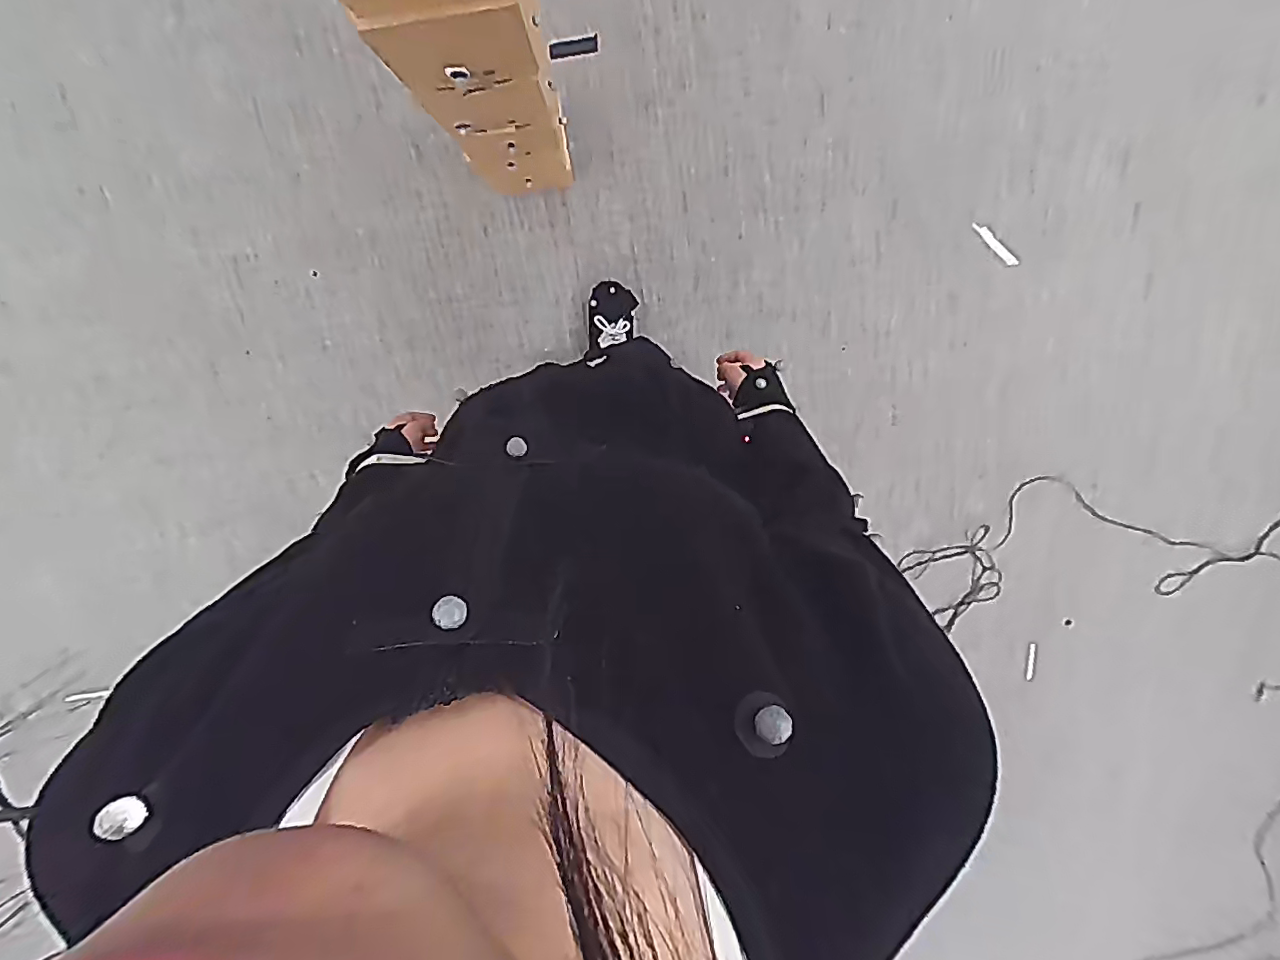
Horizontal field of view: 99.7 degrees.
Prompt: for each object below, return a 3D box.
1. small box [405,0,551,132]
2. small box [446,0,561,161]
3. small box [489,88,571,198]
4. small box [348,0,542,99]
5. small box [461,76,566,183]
[{"bbox_3d":[-0.219,-0.588,0.722,0.168,0.176,0.179,-7,107,-1],"label":"small box"},{"bbox_3d":[-0.226,-0.636,0.879,0.168,0.176,0.179,-7,109,-1],"label":"small box"},{"bbox_3d":[-0.248,-0.734,1.191,0.179,0.176,0.168,-8,108,-1],"label":"small box"},{"bbox_3d":[-0.207,-0.540,0.568,0.168,0.176,0.179,-9,109,0],"label":"small box"},{"bbox_3d":[-0.245,-0.680,1.035,0.179,0.176,0.168,-6,109,-2],"label":"small box"}]
